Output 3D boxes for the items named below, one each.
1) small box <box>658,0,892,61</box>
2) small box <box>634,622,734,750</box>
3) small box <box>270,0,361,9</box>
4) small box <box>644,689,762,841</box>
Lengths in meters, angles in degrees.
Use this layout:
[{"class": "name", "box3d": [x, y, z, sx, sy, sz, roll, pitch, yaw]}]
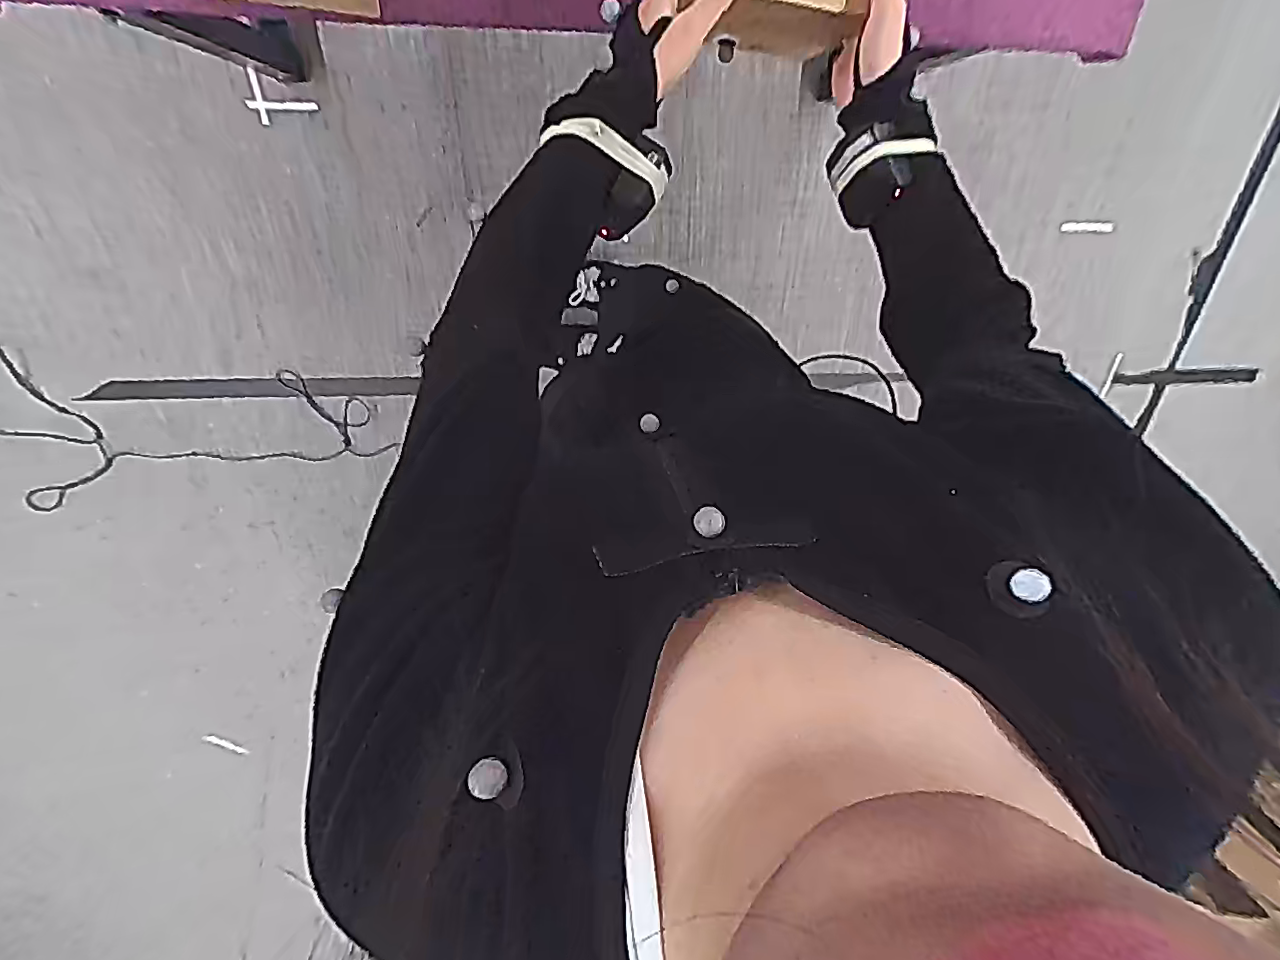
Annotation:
[{"class": "small box", "box3d": [0.114, -0.484, 0.449, 0.168, 0.176, 0.179, 1, 118, -10]}, {"class": "small box", "box3d": [0.080, 0.409, 1.085, 0.168, 0.176, 0.179, -2, 119, -7]}, {"class": "small box", "box3d": [-0.313, -0.477, 0.393, 0.179, 0.176, 0.168, 1, 118, -9]}, {"class": "small box", "box3d": [0.099, 0.484, 0.941, 0.168, 0.176, 0.179, -3, 119, -6]}]
